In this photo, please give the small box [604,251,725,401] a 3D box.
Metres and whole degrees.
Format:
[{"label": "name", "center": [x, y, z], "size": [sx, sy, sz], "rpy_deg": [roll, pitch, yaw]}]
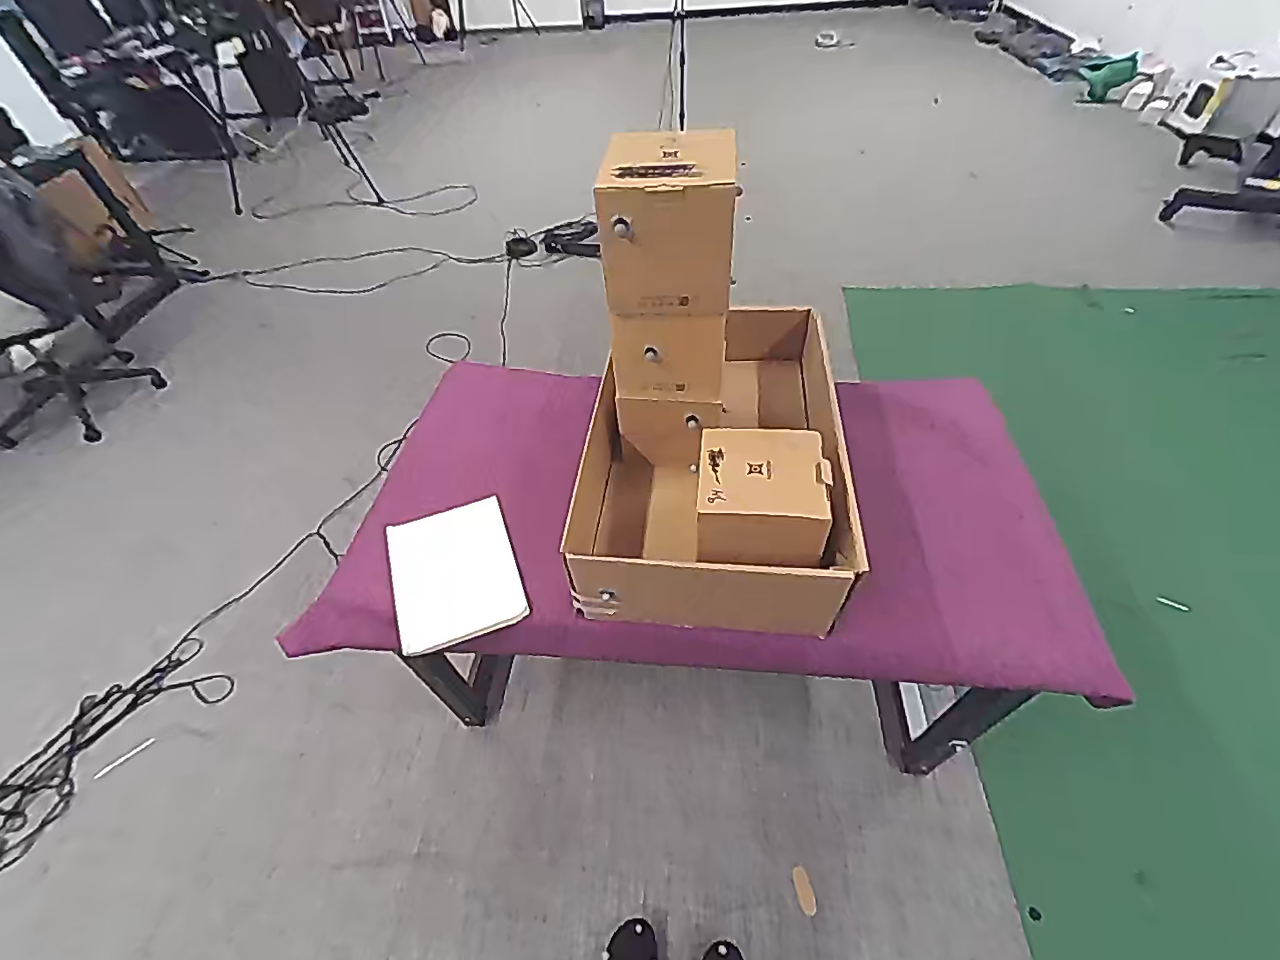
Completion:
[{"label": "small box", "center": [0.047, -0.243, 0.864], "size": [0.168, 0.176, 0.179], "rpy_deg": [4, 50, 8]}]
